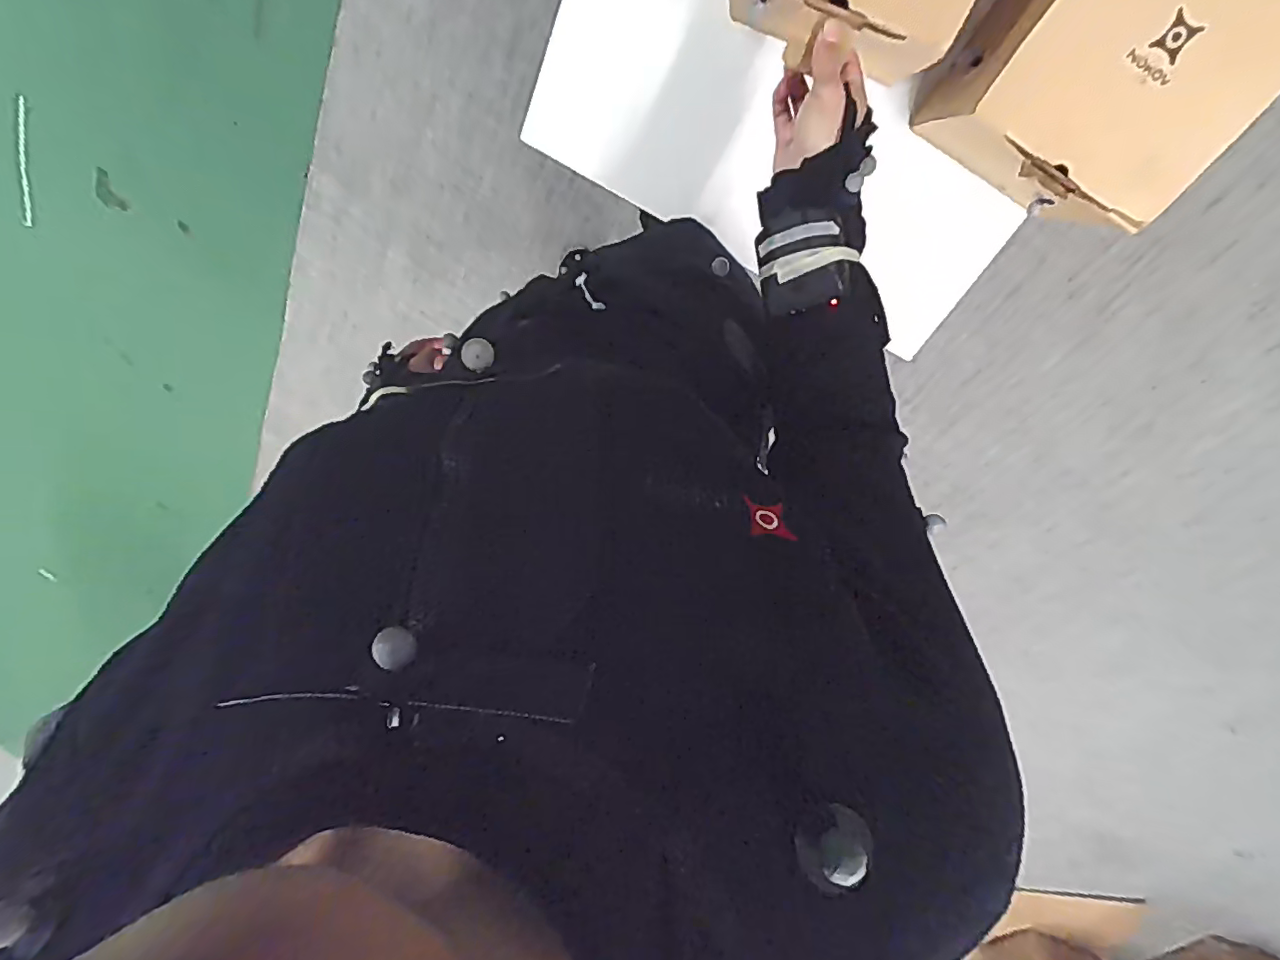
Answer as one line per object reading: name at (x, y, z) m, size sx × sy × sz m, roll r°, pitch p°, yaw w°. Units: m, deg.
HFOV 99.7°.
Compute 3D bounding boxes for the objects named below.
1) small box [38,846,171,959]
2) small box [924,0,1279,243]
small box at (-1.362, 1.082, 1.383) m, size 0.168 × 0.176 × 0.179 m, roll 40°, pitch 118°, yaw -13°
small box at (0.360, -0.320, 0.430) m, size 0.168 × 0.176 × 0.179 m, roll 28°, pitch 120°, yaw -7°
